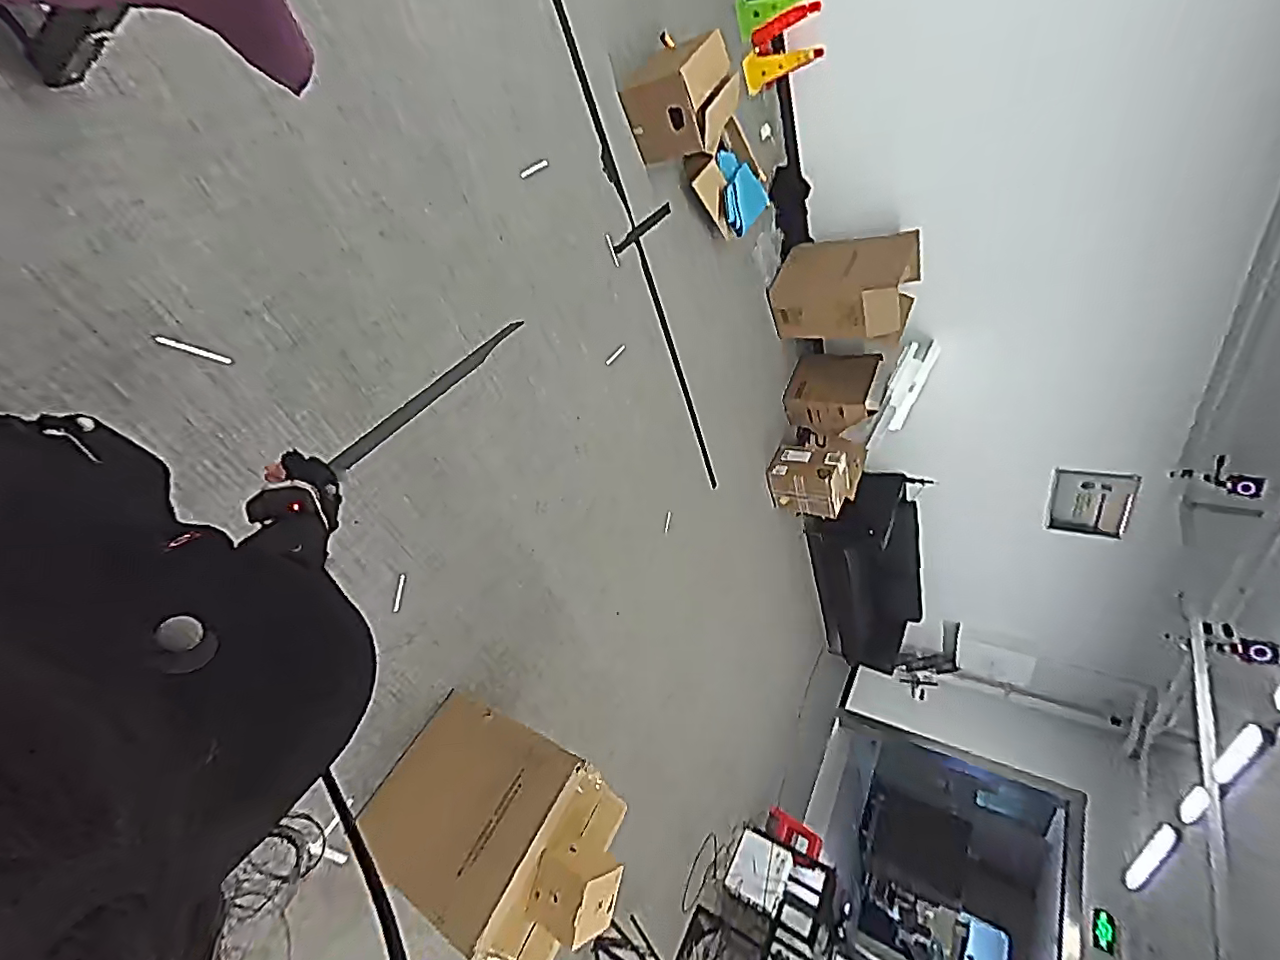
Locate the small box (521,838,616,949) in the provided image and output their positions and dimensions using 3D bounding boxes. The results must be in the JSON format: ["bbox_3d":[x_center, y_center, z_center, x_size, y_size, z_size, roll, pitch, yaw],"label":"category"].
[{"bbox_3d":[-0.200,1.134,1.499,0.179,0.176,0.168,29,73,-52],"label":"small box"}]
